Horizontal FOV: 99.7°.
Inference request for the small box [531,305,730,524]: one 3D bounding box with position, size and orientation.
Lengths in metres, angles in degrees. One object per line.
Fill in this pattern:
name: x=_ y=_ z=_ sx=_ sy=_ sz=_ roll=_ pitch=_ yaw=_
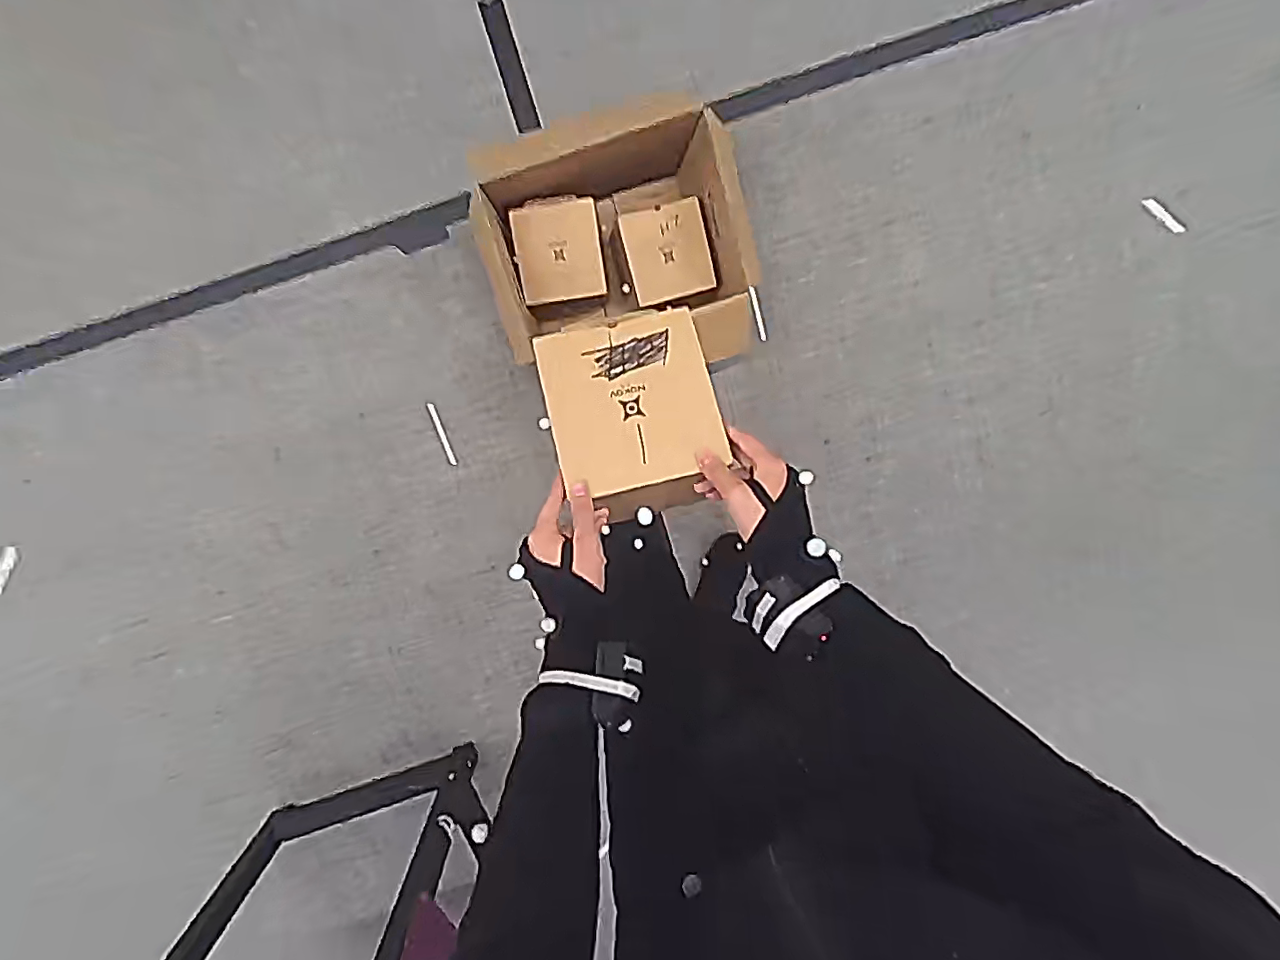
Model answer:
small box: x=-0.014 y=-0.062 z=0.604 sx=0.168 sy=0.176 sz=0.179 roll=-14 pitch=78 yaw=-4
